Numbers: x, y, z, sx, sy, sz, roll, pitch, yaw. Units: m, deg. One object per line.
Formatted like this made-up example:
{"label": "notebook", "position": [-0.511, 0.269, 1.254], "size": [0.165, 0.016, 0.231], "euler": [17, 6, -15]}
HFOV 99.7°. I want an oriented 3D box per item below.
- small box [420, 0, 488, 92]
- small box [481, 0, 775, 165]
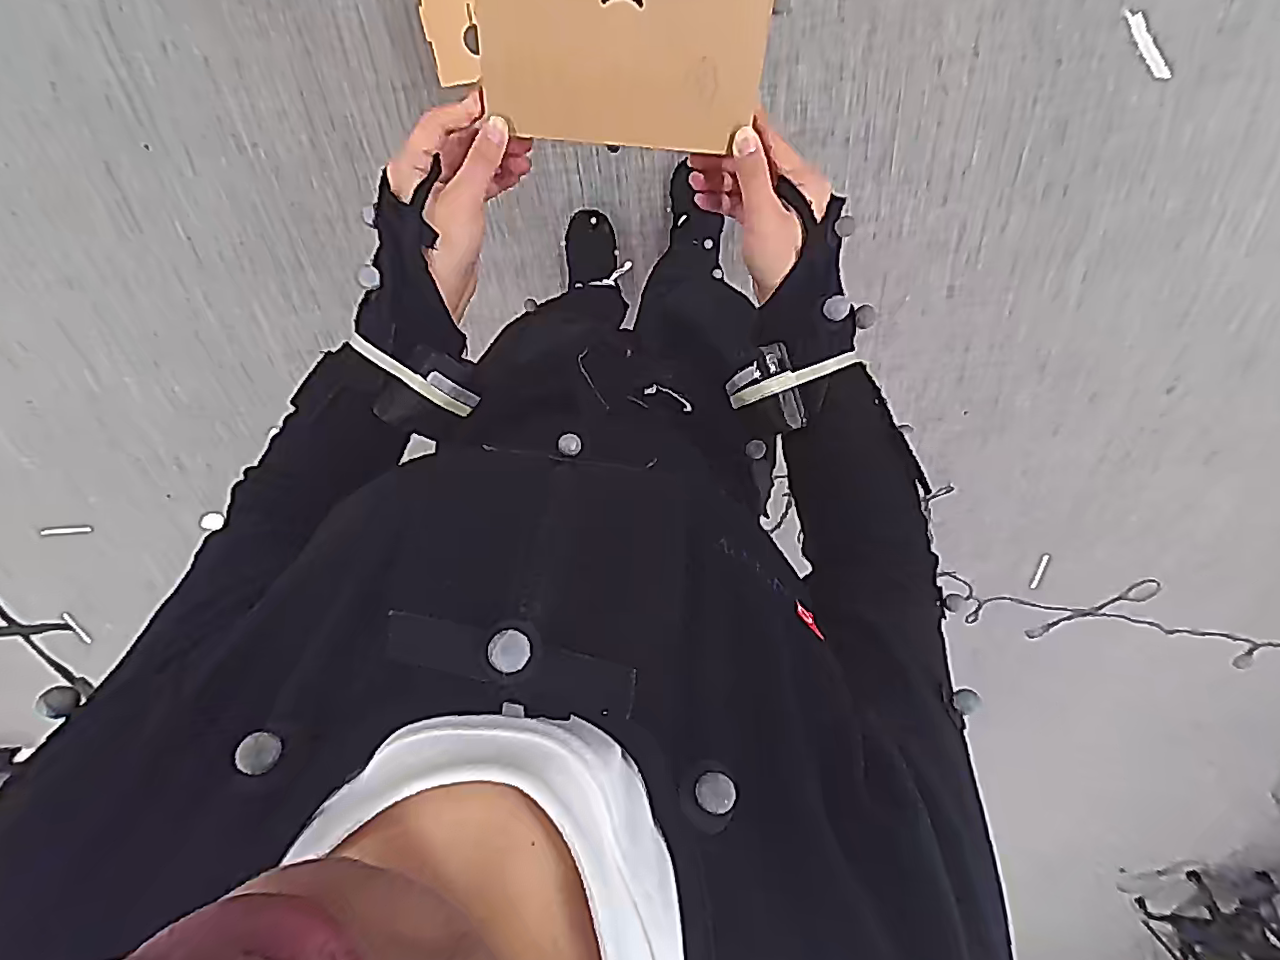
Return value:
{"label": "small box", "position": [-0.255, -0.773, 0.919], "size": [0.179, 0.176, 0.168], "euler": [-5, 123, 3]}
{"label": "small box", "position": [-0.006, -0.328, 0.353], "size": [0.168, 0.176, 0.179], "euler": [3, 129, -4]}
